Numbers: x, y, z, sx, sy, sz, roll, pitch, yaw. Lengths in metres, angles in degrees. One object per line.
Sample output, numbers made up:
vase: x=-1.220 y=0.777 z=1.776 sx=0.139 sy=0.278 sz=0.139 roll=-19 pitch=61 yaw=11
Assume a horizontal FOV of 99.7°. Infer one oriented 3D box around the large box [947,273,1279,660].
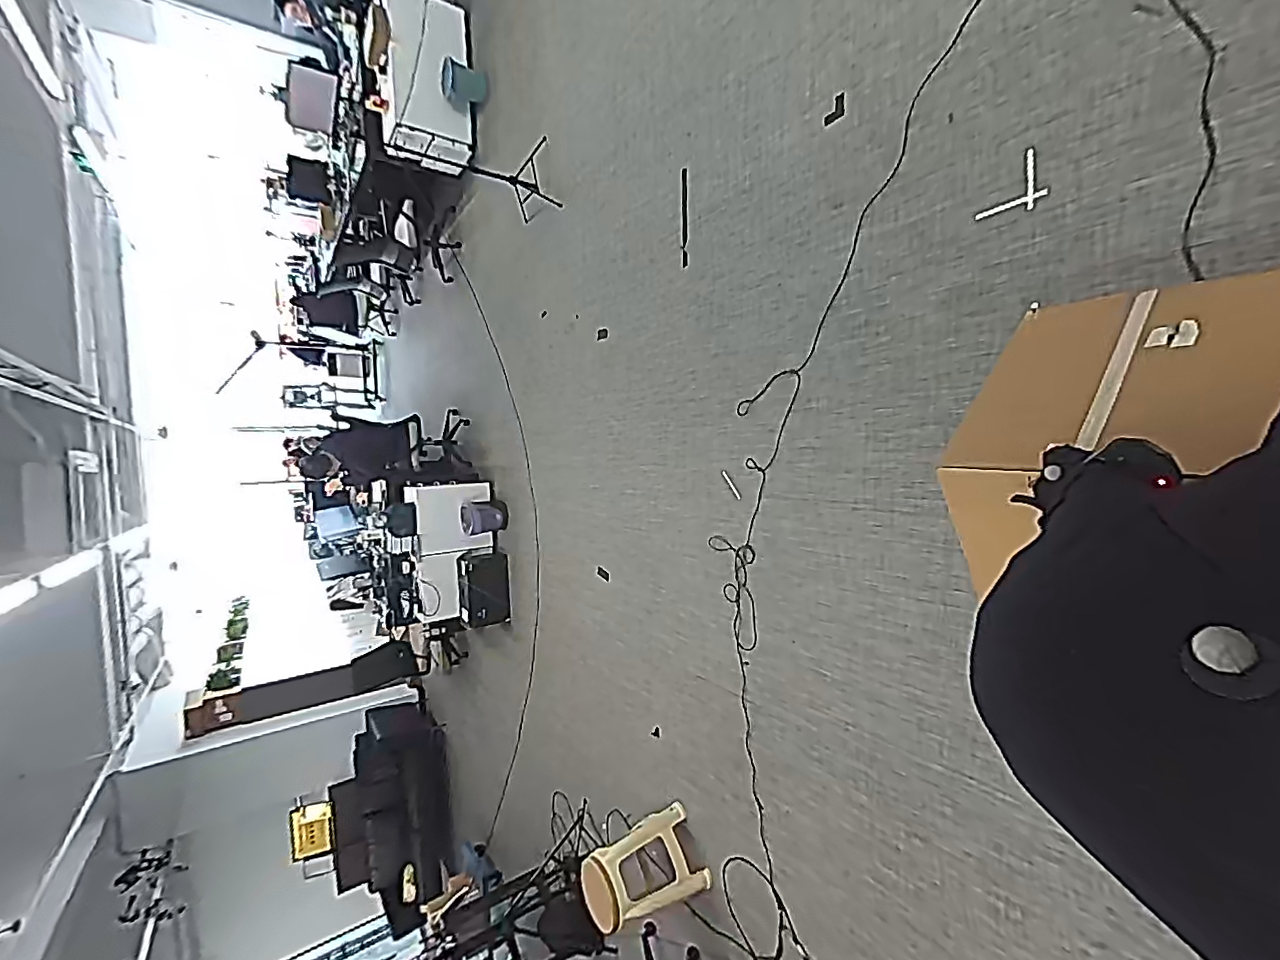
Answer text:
large box: x=0.706 y=-0.029 z=0.773 sx=0.320 sy=0.408 sz=0.320 roll=7 pitch=137 yaw=52
